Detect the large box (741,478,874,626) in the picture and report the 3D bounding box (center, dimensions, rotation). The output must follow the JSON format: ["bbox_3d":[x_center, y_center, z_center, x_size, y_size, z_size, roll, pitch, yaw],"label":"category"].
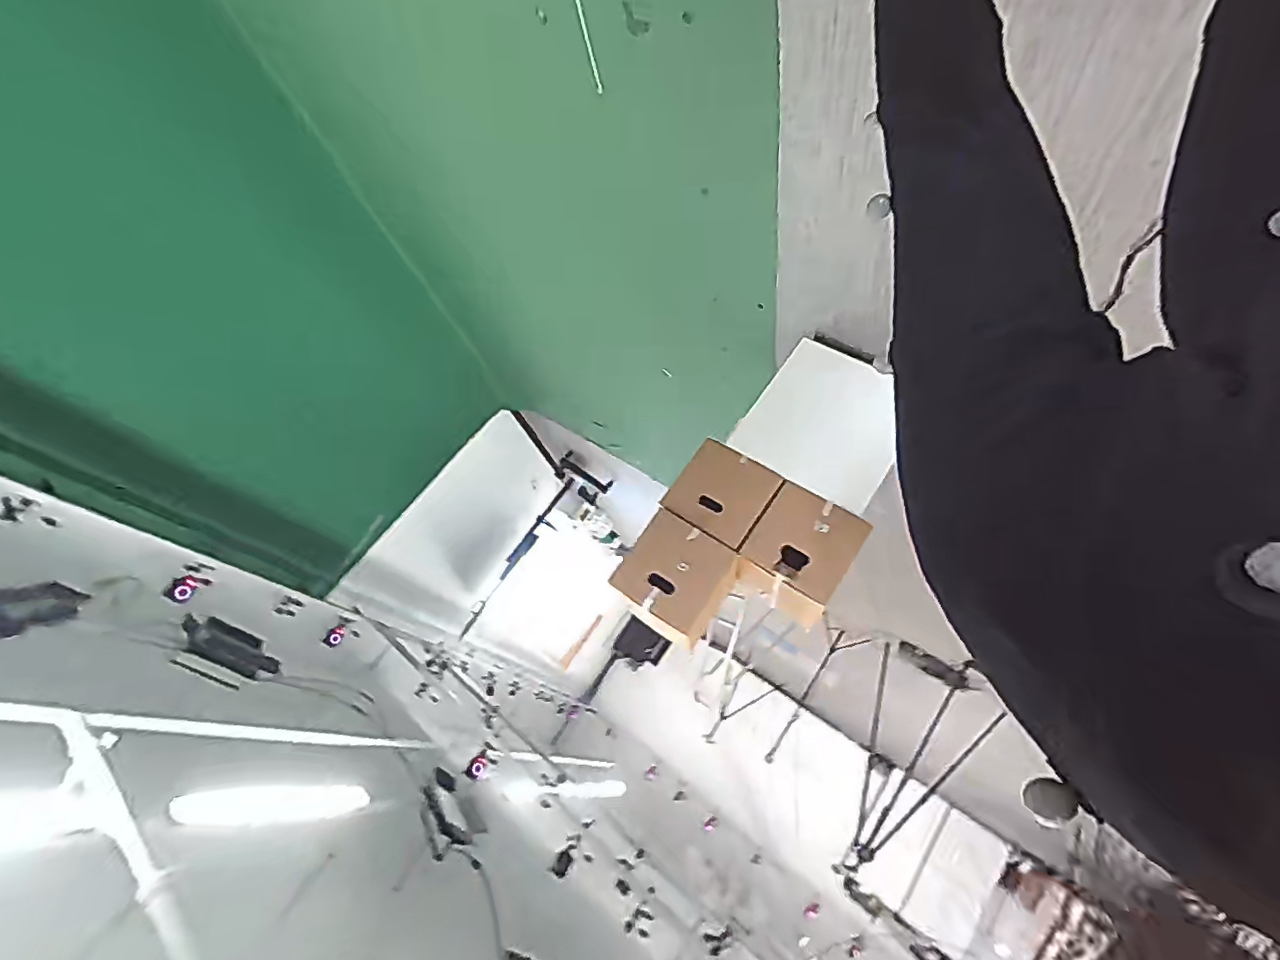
[{"bbox_3d":[0.564,0.255,1.868,0.320,0.320,0.408,32,164,23],"label":"large box"}]
